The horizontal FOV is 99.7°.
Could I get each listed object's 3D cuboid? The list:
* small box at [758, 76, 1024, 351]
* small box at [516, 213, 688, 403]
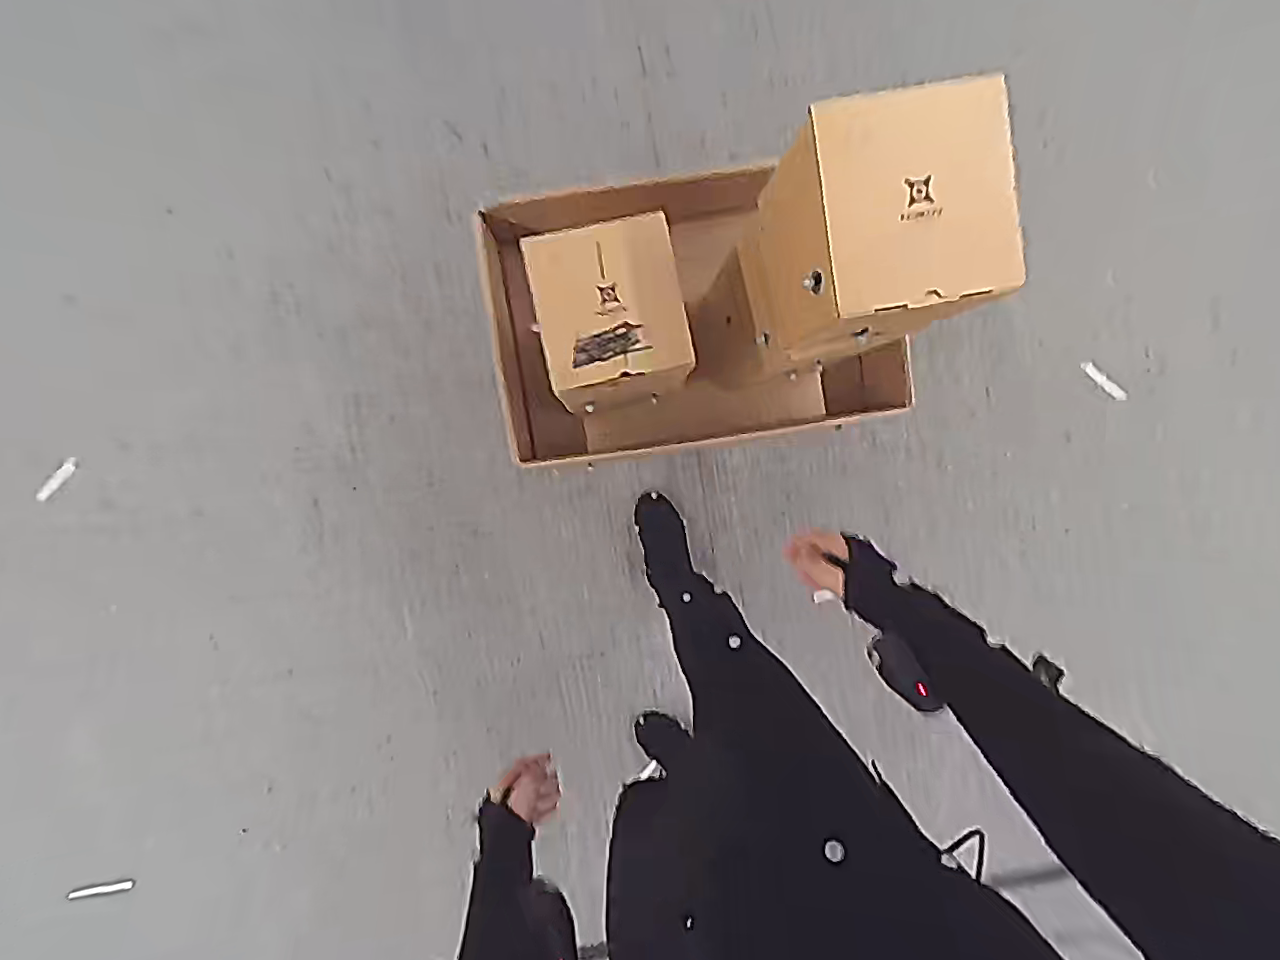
[{"bbox_3d":[0.222,-0.236,0.522,0.168,0.176,0.179,-10,95,-2],"label":"small box"},{"bbox_3d":[-0.043,-0.197,0.677,0.168,0.176,0.179,-13,92,-2],"label":"small box"}]
